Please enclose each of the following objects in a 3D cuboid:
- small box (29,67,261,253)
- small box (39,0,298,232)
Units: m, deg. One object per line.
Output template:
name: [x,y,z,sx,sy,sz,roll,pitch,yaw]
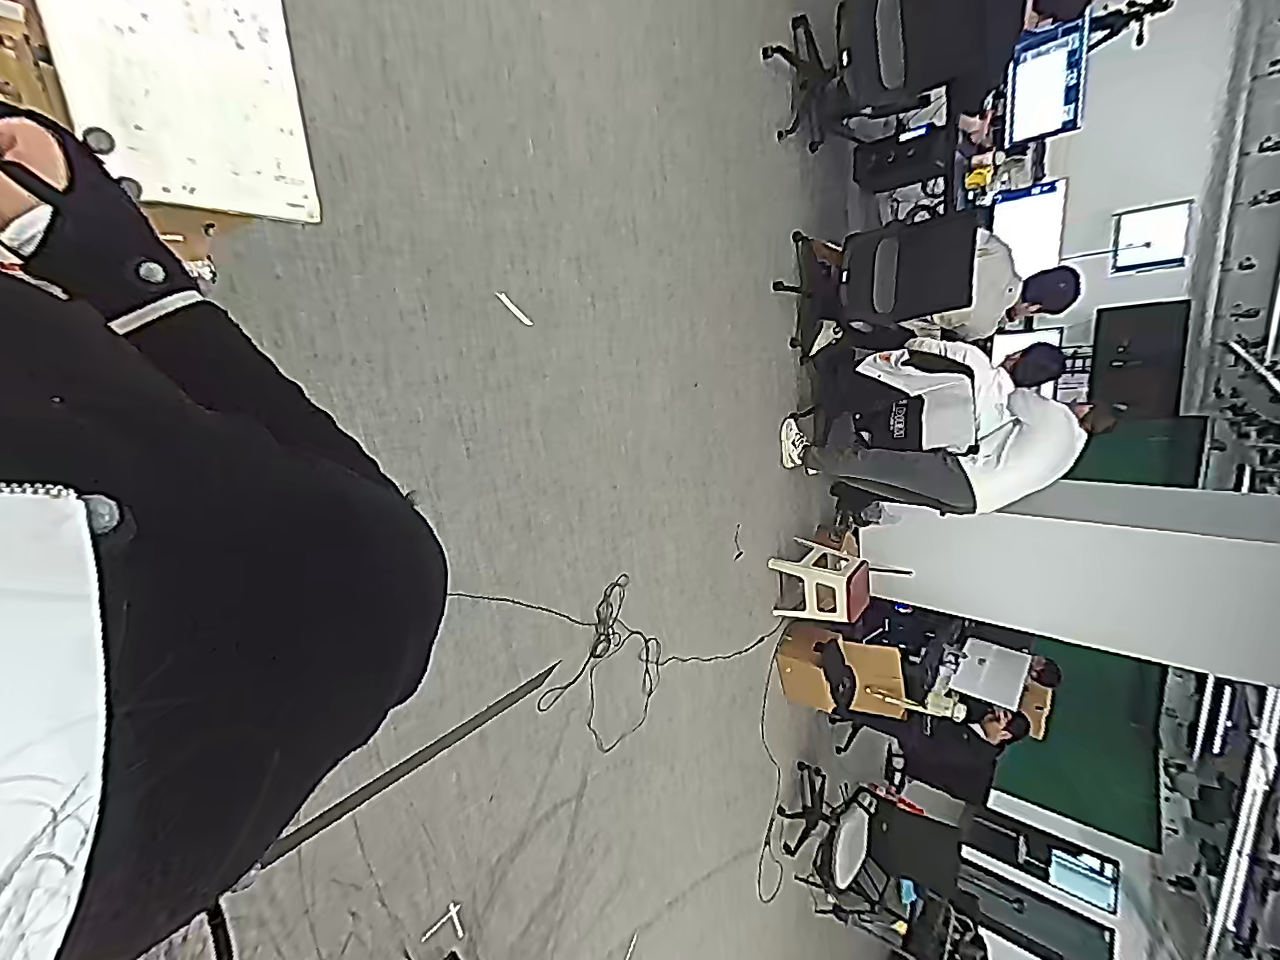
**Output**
small box: [-0.649,-0.403,0.714,0.179,0.176,0.168,-26,115,-45]
small box: [-0.525,-0.395,0.607,0.168,0.176,0.179,-23,113,-47]
